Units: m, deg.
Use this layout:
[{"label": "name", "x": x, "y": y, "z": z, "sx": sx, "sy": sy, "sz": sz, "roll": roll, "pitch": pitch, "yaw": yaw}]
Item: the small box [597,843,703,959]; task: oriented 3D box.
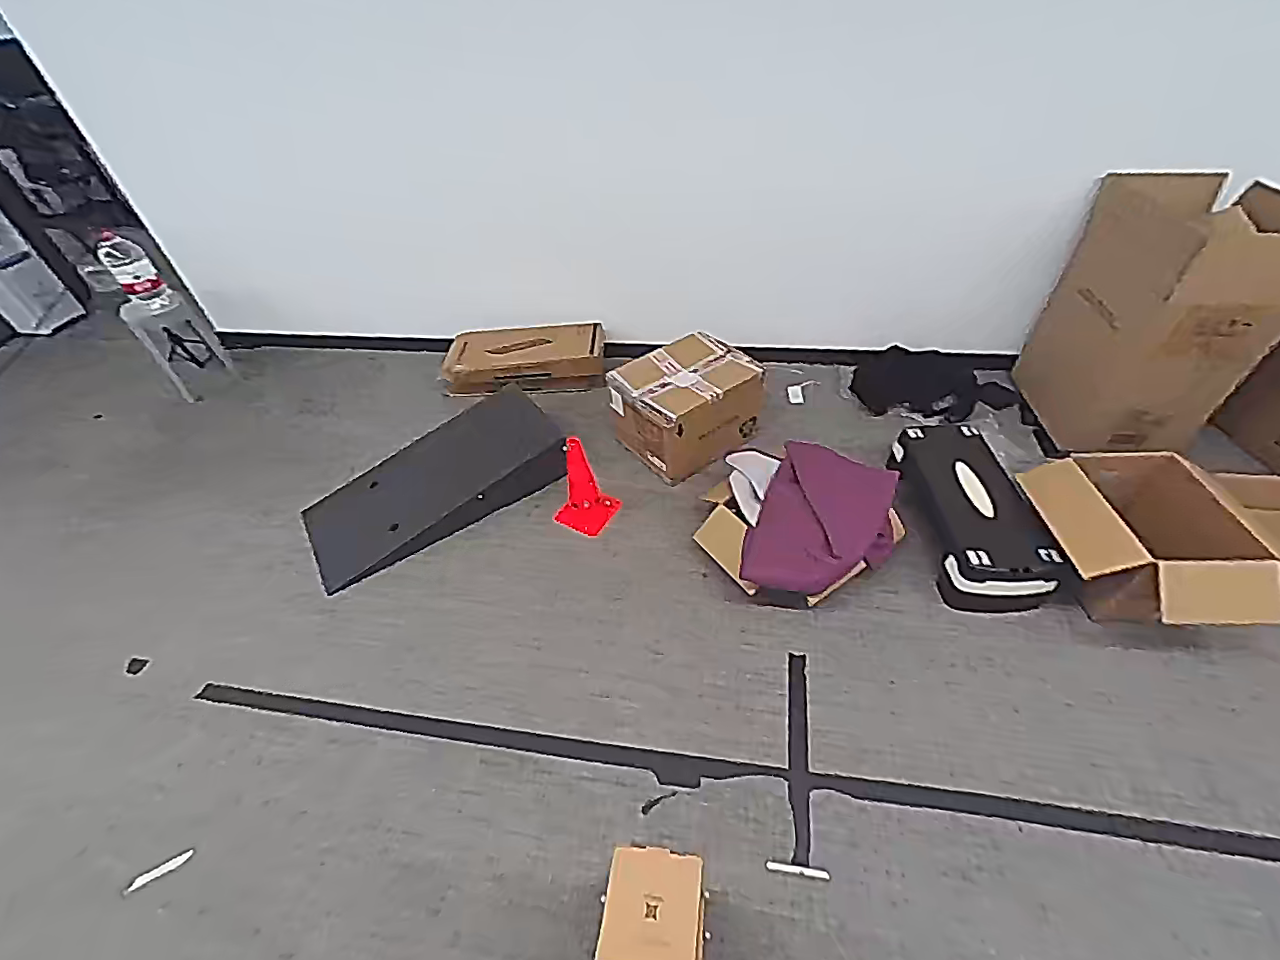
[{"label": "small box", "x": 0.027, "y": 0.802, "z": 0.996, "sx": 0.168, "sy": 0.176, "sz": 0.179, "roll": 3, "pitch": 46, "yaw": 10}]
